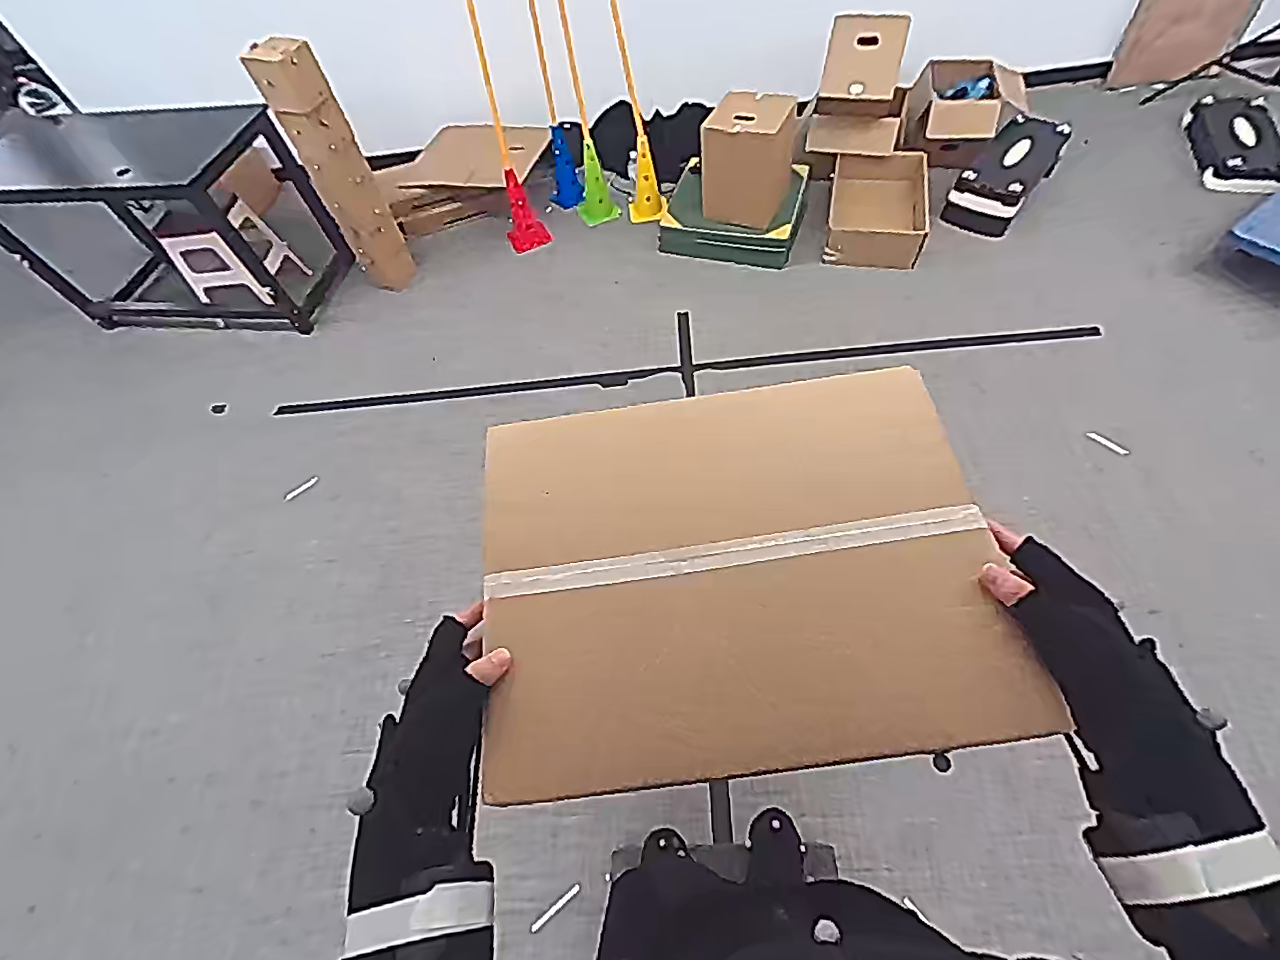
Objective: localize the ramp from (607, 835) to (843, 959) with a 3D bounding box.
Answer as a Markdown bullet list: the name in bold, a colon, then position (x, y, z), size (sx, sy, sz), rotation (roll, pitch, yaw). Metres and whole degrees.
- **ramp**: position (0.187, 1.260, 1.020), size (0.509, 0.206, 0.991), rotation (-4, 58, 2)

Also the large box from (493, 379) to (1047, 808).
- **large box**: position (0.087, 0.132, 0.580), size (0.408, 0.320, 0.320), rotation (-8, 62, 1)
